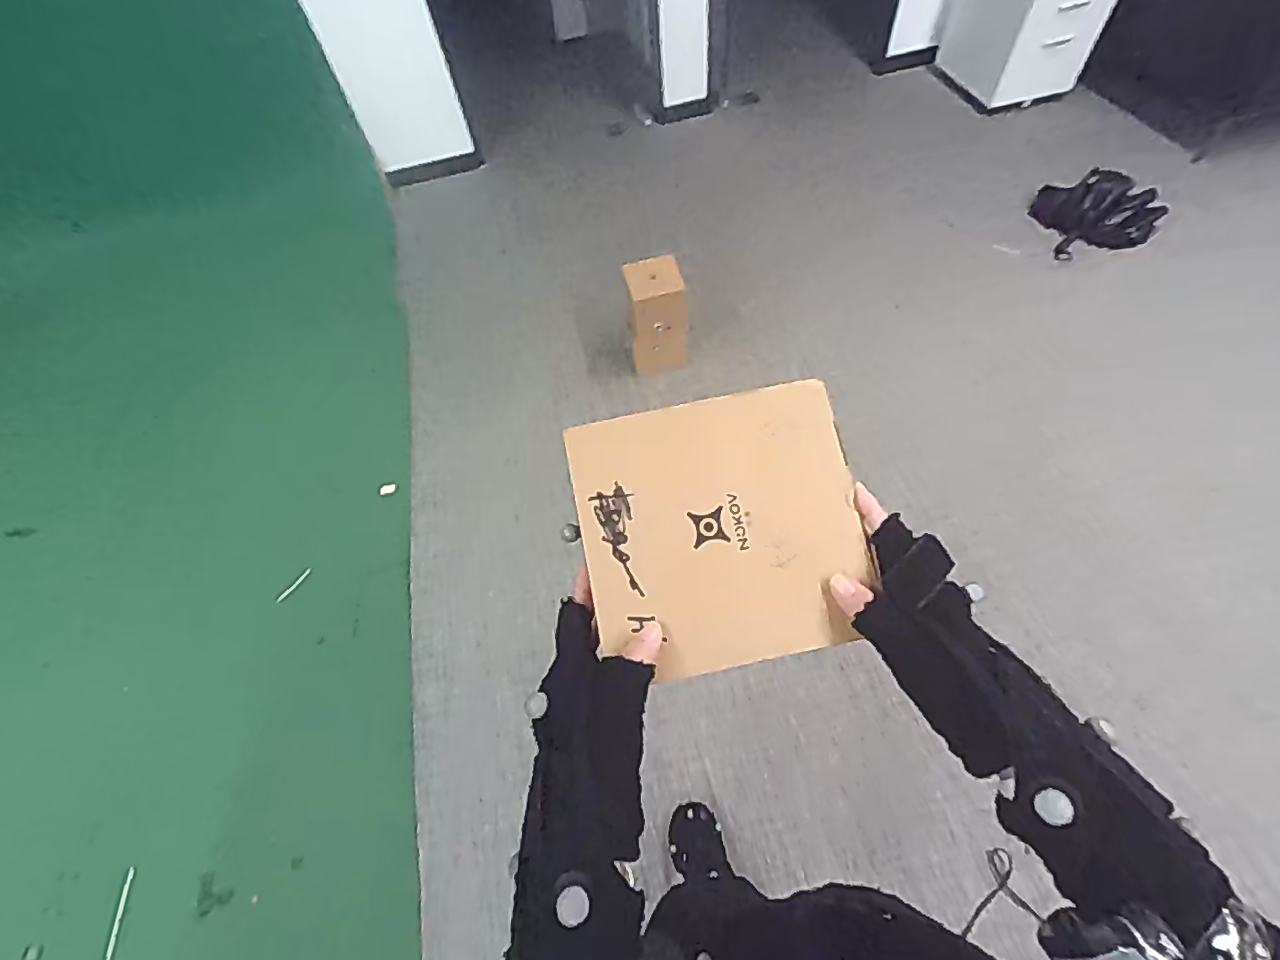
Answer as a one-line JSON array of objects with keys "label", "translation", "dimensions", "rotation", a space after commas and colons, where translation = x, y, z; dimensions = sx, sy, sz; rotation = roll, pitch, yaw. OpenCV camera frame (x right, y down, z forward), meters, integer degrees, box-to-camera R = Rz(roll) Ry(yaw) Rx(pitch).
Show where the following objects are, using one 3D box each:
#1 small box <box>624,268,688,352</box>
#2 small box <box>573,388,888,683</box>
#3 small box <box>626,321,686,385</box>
[{"label": "small box", "translation": [0.053, -0.546, 1.744], "dimensions": [0.168, 0.176, 0.179], "rotation": [-15, 58, -1]}, {"label": "small box", "translation": [0.054, 0.048, 0.423], "dimensions": [0.179, 0.176, 0.168], "rotation": [-11, 76, -2]}, {"label": "small box", "translation": [0.058, -0.452, 1.875], "dimensions": [0.179, 0.176, 0.168], "rotation": [-12, 57, -2]}]
